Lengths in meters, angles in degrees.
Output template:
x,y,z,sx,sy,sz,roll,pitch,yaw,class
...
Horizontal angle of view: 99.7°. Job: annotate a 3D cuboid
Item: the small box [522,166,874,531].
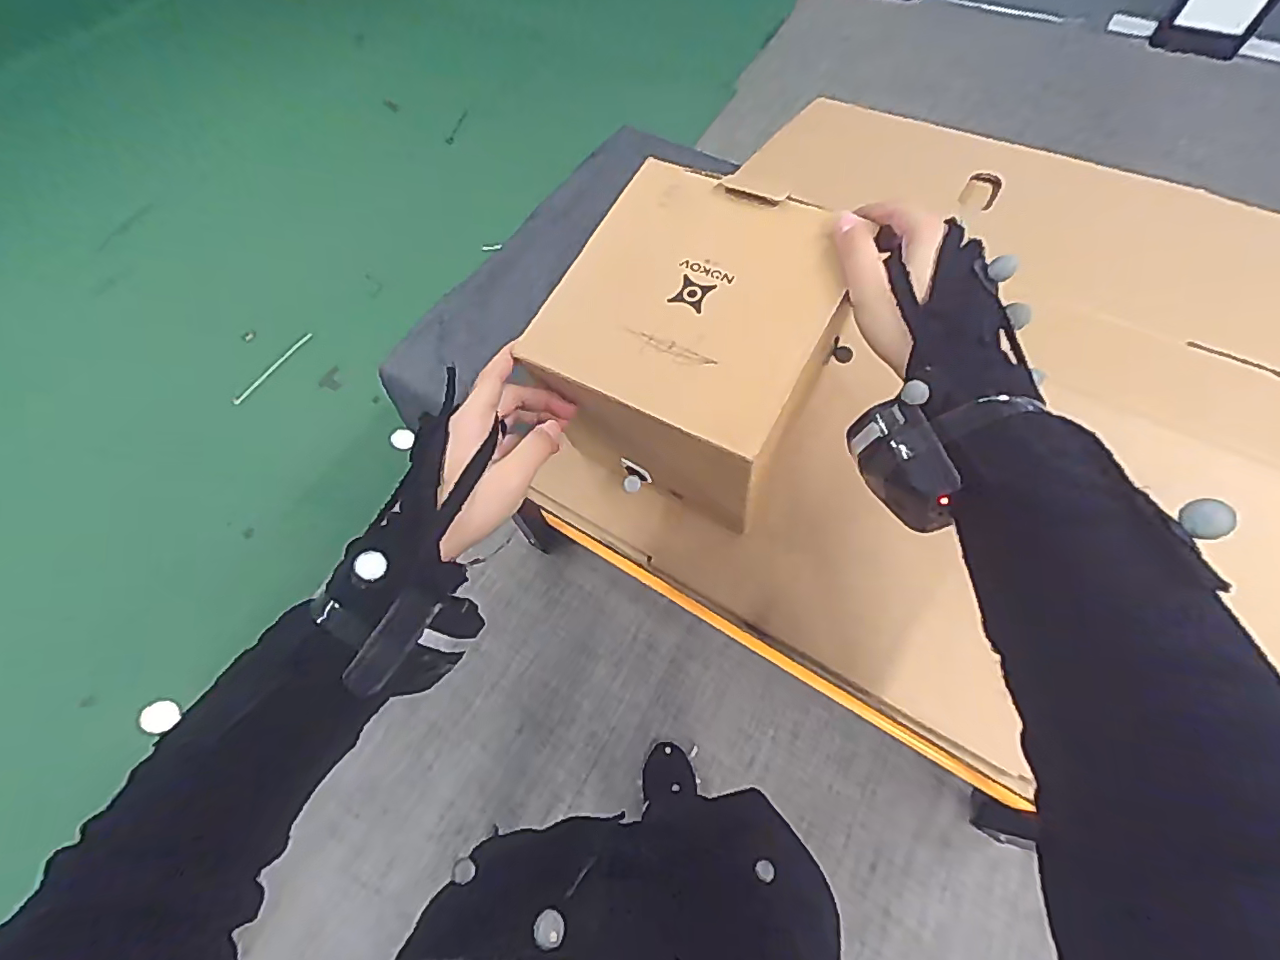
x,y,z,sx,sy,sz,roll,pitch,yaw,class
0.045,-0.087,0.411,0.168,0.176,0.179,27,76,17,small box
